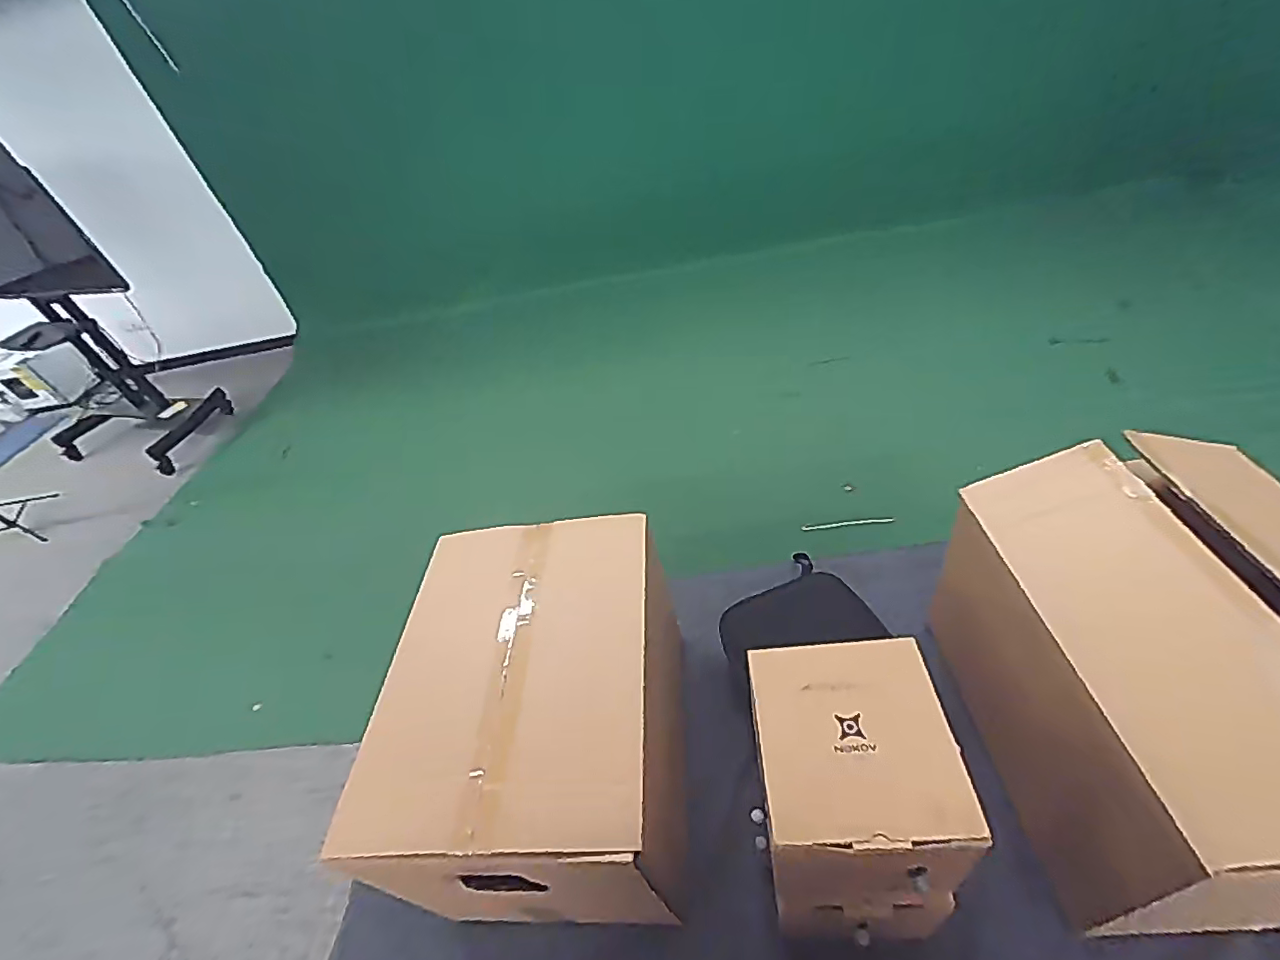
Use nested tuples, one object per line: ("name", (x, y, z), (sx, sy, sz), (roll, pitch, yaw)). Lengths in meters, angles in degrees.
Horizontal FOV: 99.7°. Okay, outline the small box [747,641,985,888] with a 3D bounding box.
("small box", (0.204, 0.287, 0.540), (0.168, 0.176, 0.179), (-7, 41, 6))
